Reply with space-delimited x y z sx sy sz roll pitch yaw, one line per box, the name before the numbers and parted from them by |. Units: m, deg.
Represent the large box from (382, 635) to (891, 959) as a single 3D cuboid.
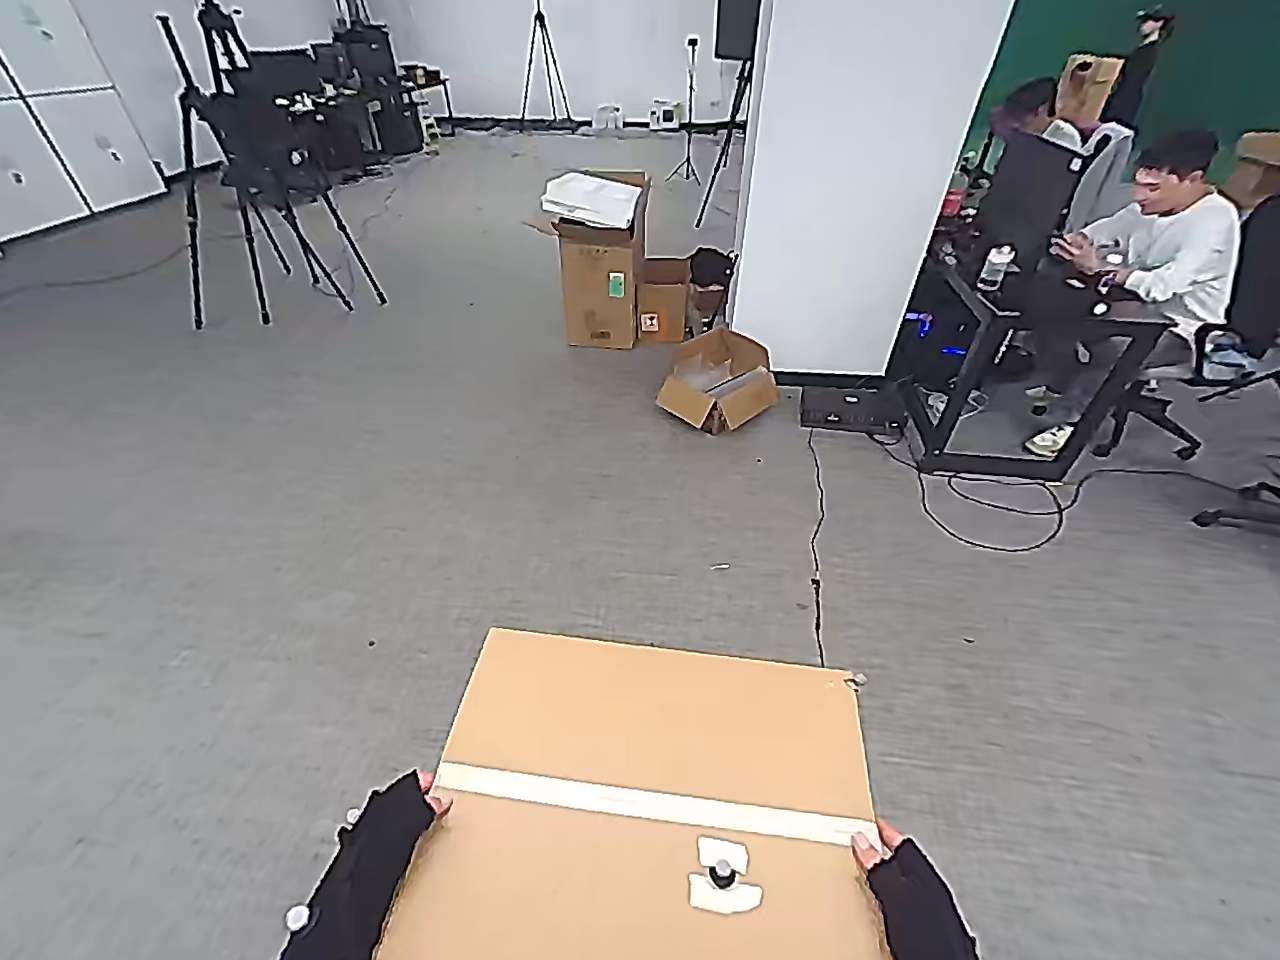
large box | 0.007 0.408 0.601 0.408 0.320 0.320 6 44 5
